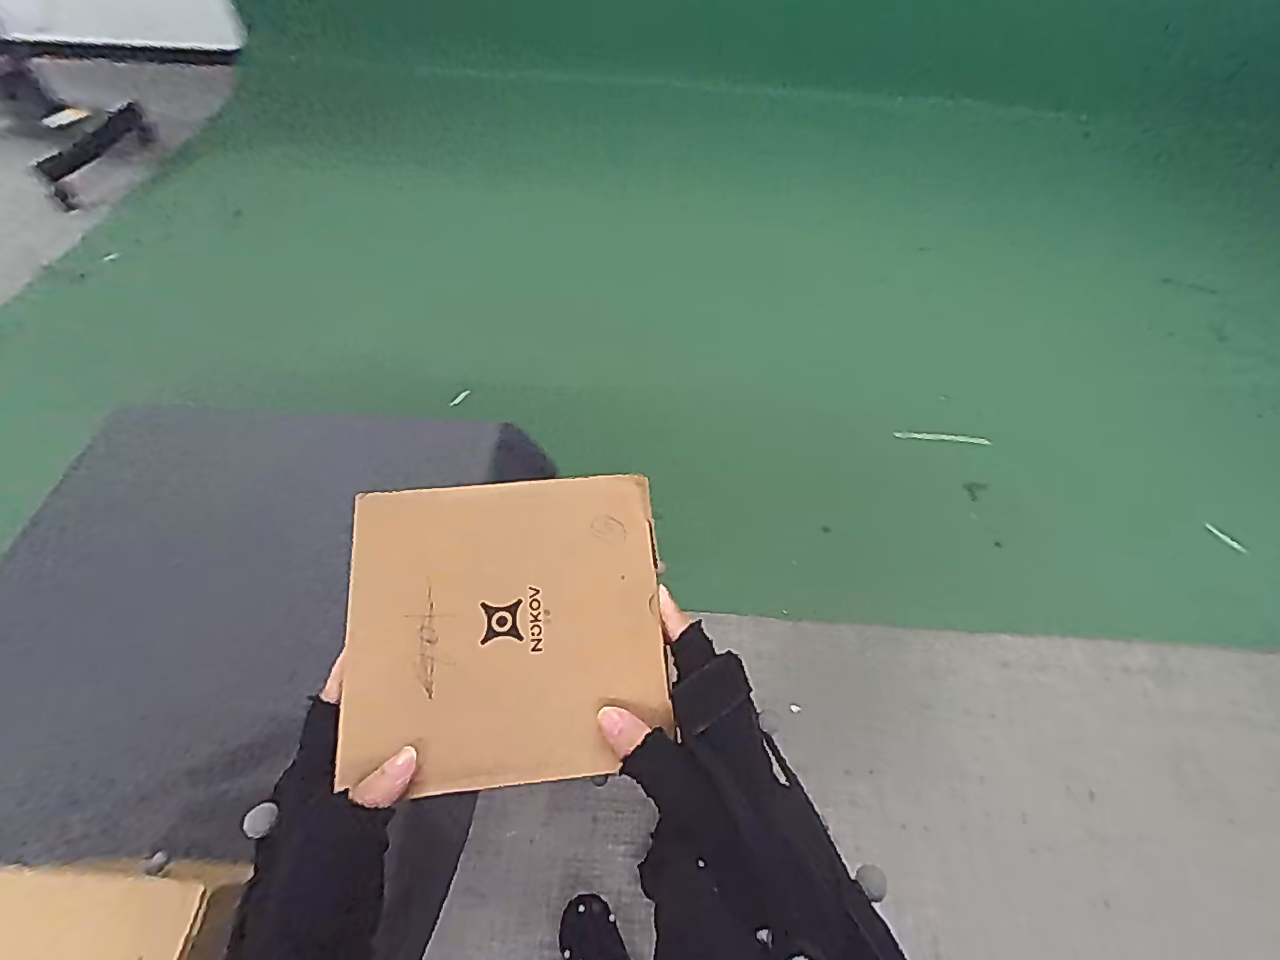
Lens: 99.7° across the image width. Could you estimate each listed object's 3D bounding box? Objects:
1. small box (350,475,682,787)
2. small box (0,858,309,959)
[{"bbox_3d":[-0.074,0.106,0.386,0.179,0.176,0.168,-5,68,-4],"label":"small box"},{"bbox_3d":[-0.408,0.407,0.433,0.179,0.176,0.168,1,57,-2],"label":"small box"}]
